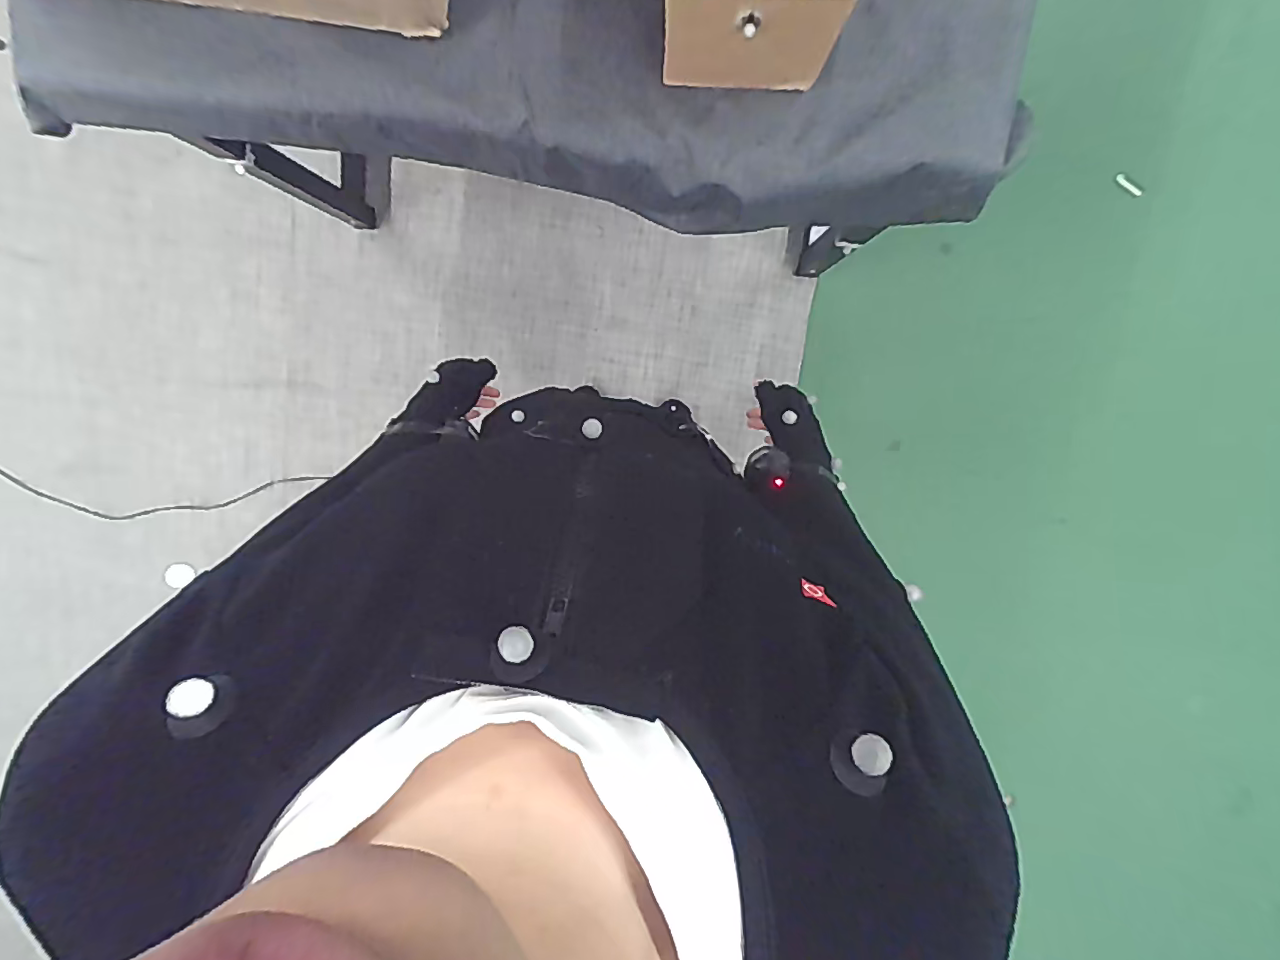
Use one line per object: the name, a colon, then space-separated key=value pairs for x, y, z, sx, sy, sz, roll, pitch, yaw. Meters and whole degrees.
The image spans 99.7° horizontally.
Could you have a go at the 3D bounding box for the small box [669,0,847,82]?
small box: x=0.121 y=-0.540 z=0.551 sx=0.179 sy=0.176 sz=0.168 roll=3 pitch=102 yaw=1
